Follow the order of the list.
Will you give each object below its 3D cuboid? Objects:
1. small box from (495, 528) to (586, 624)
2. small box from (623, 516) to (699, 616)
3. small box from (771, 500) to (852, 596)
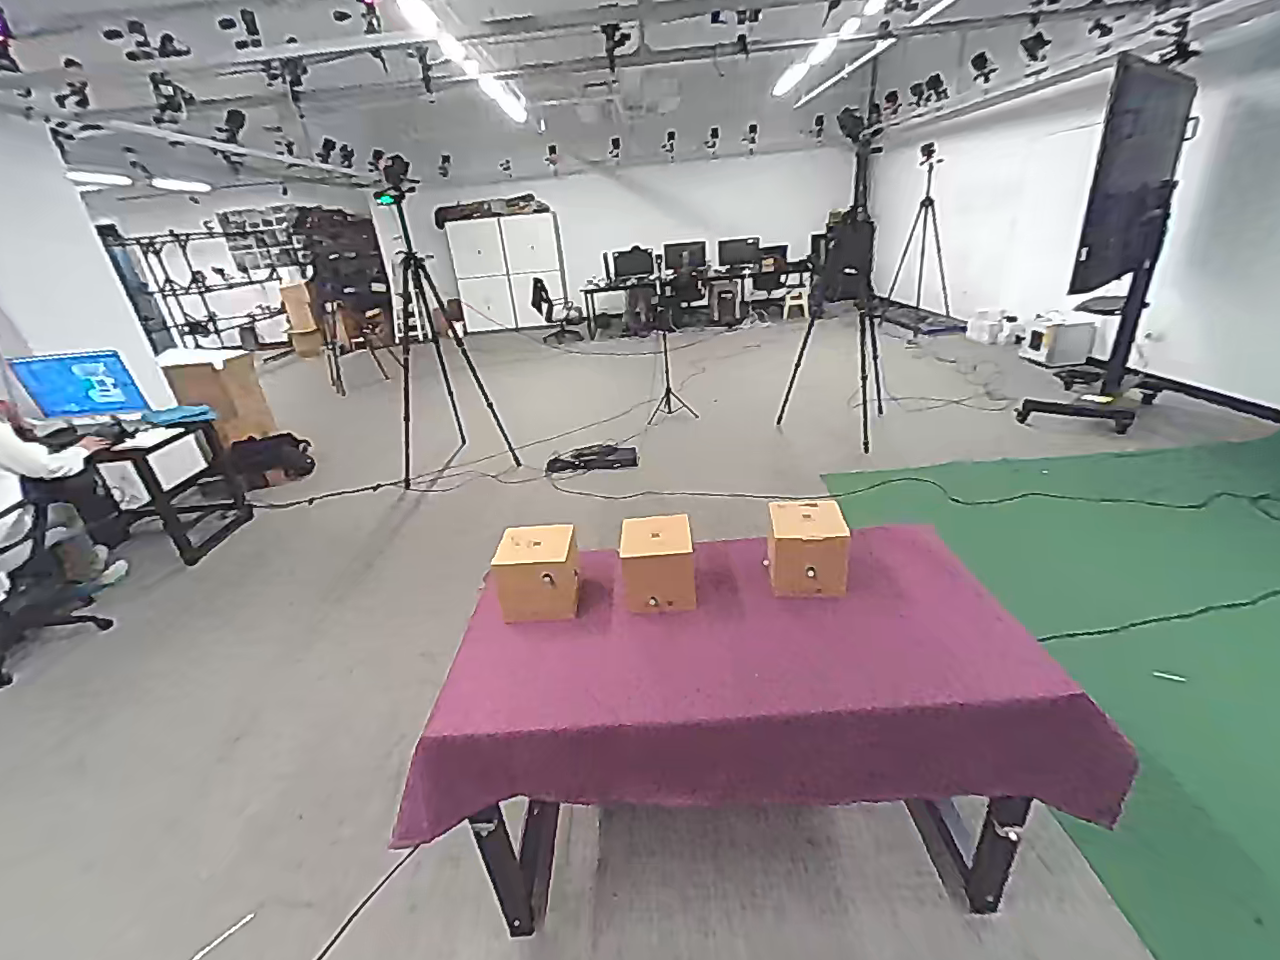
[{"bbox_3d":[-0.232,0.234,1.323,0.179,0.176,0.168,-5,25,4],"label":"small box"},{"bbox_3d":[0.054,0.207,1.314,0.168,0.176,0.179,-5,26,4],"label":"small box"},{"bbox_3d":[0.408,0.165,1.306,0.168,0.176,0.179,-2,26,9],"label":"small box"}]
